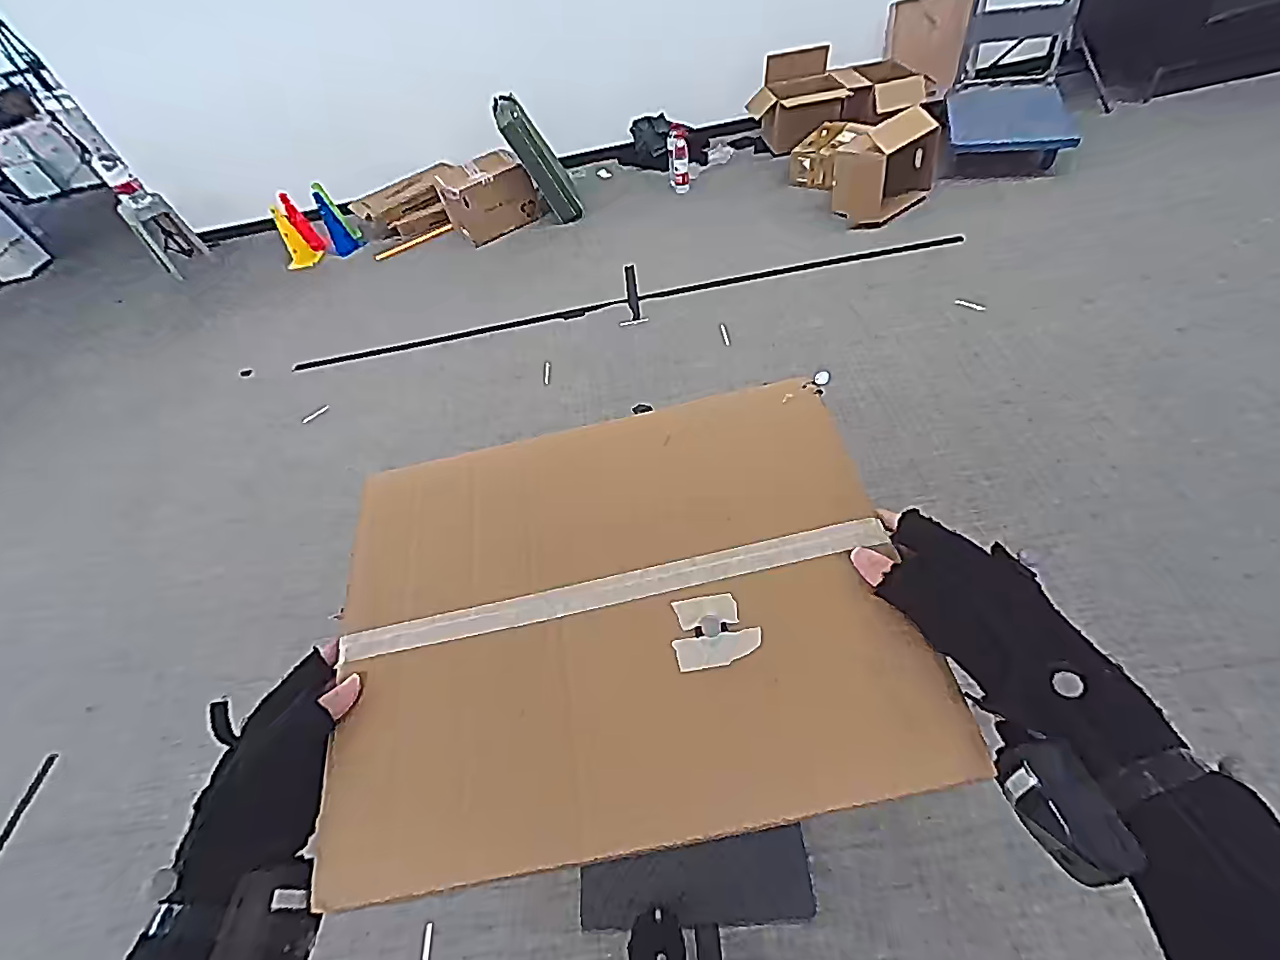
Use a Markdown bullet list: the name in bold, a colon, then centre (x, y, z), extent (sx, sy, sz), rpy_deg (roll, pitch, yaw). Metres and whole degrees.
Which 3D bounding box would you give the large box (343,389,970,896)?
- **large box**: centre (0.002, 0.165, 0.533), extent (0.408, 0.320, 0.320), rpy_deg (-12, 58, 1)

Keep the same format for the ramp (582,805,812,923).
- **ramp**: centre (0.087, 0.482, 1.377), extent (0.509, 0.206, 0.991), rpy_deg (-8, 50, 4)
